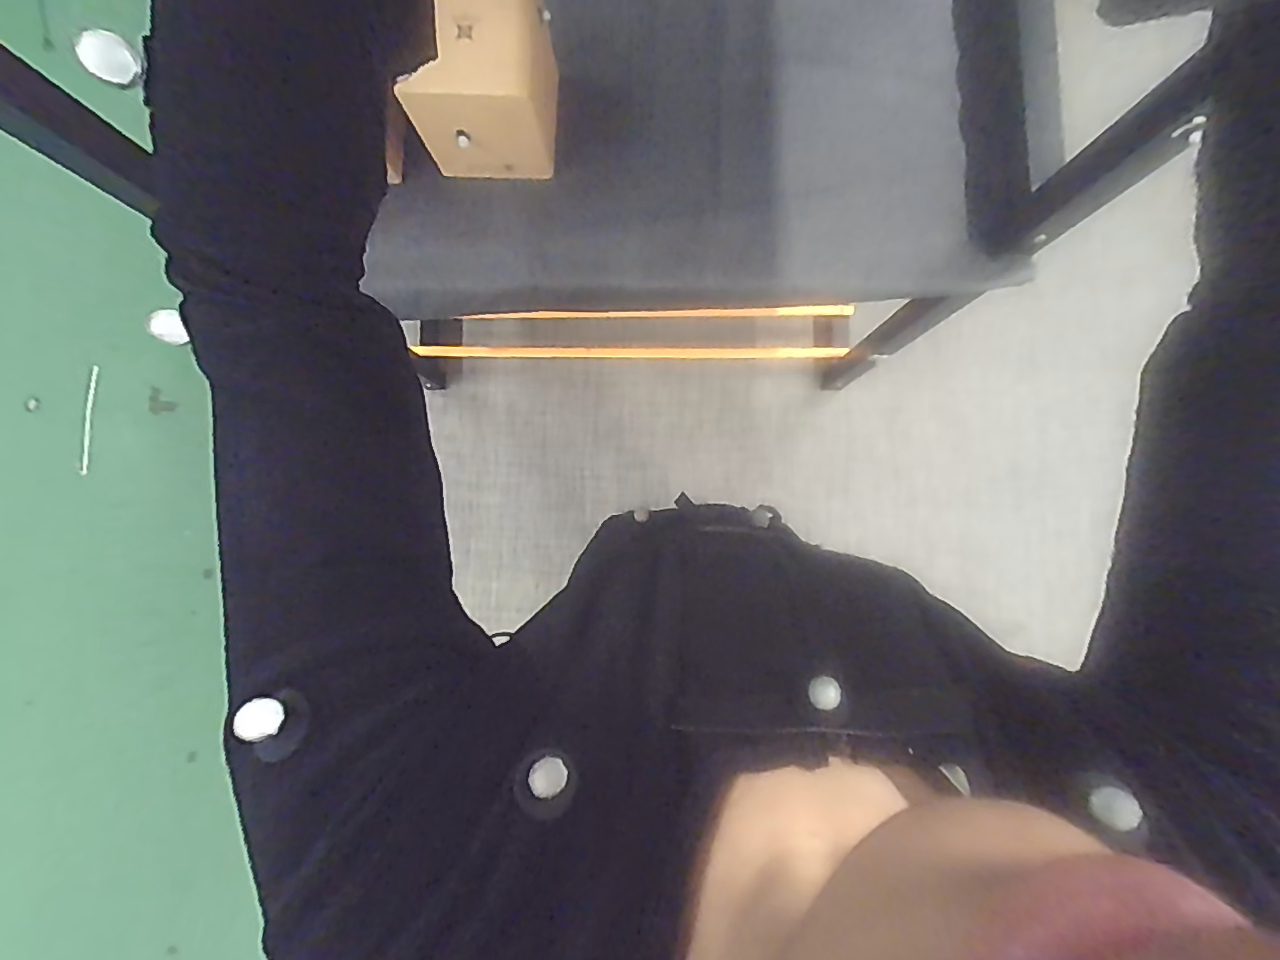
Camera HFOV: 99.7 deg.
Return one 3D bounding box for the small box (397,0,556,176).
[{"bbox_3d":[-0.212,-0.549,0.745,0.168,0.176,0.179,2,85,1],"label":"small box"}]
